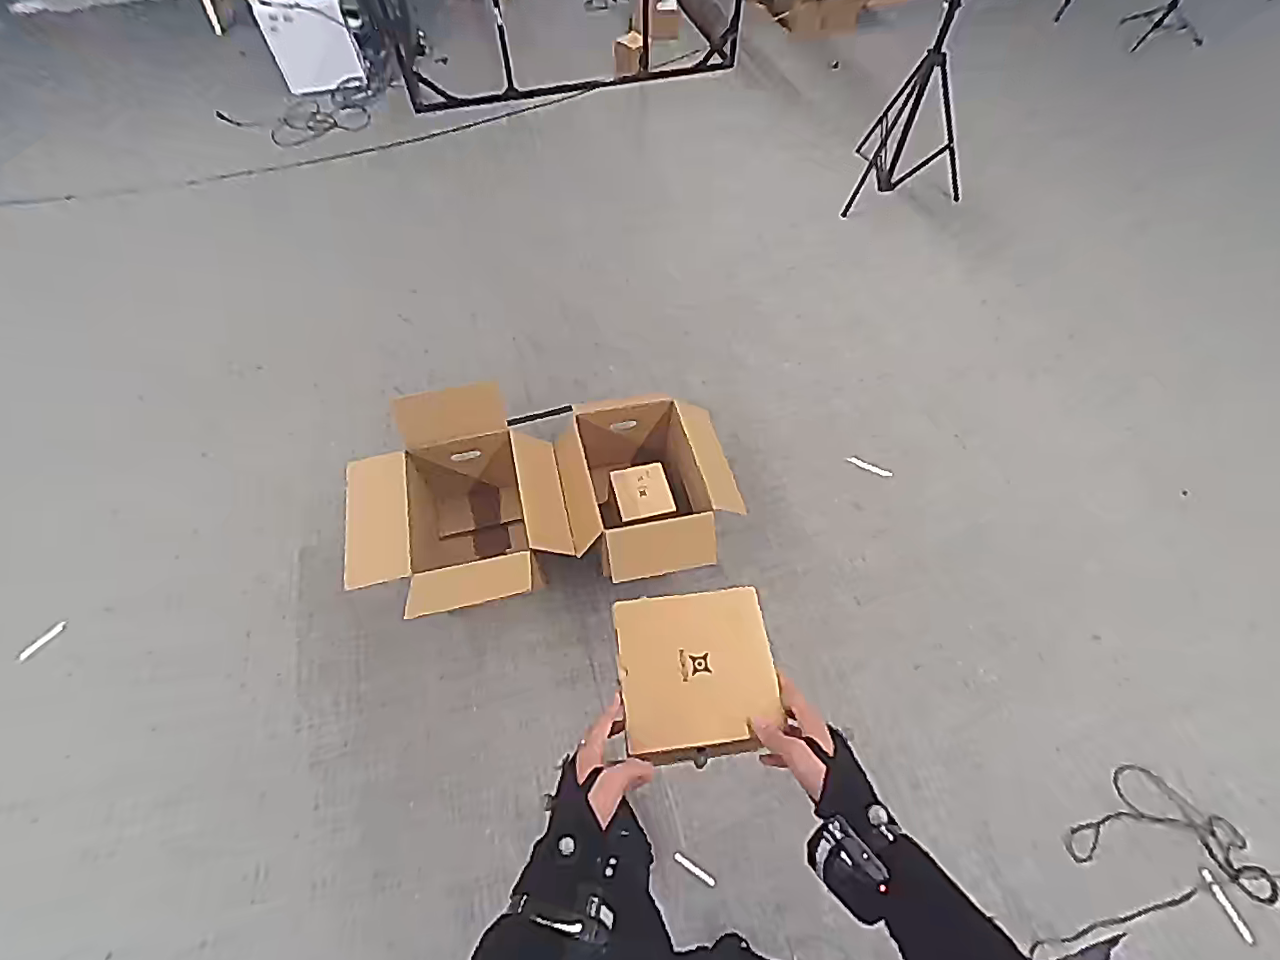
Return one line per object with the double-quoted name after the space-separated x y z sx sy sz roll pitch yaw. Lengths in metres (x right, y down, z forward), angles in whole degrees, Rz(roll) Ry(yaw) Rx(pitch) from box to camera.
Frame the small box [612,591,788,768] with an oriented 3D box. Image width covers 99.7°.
0.061 0.250 0.667 0.179 0.176 0.168 -7 58 -3 "small box"
